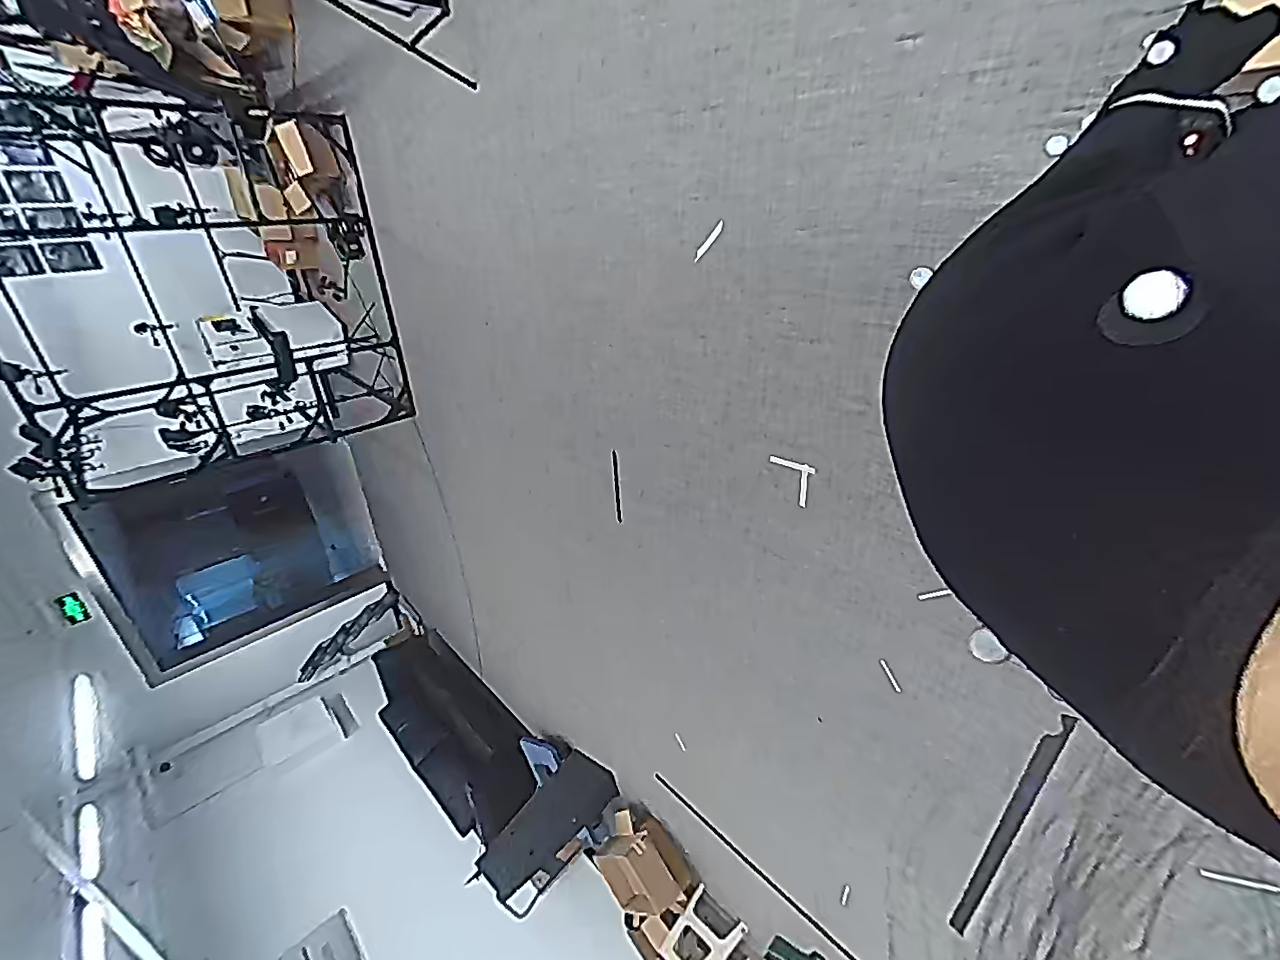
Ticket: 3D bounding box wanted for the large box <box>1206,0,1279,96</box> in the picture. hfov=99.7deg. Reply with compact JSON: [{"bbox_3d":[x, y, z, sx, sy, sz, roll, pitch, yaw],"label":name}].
[{"bbox_3d":[1.017,-0.697,0.648,0.408,0.320,0.320,22,126,41],"label":"large box"}]
